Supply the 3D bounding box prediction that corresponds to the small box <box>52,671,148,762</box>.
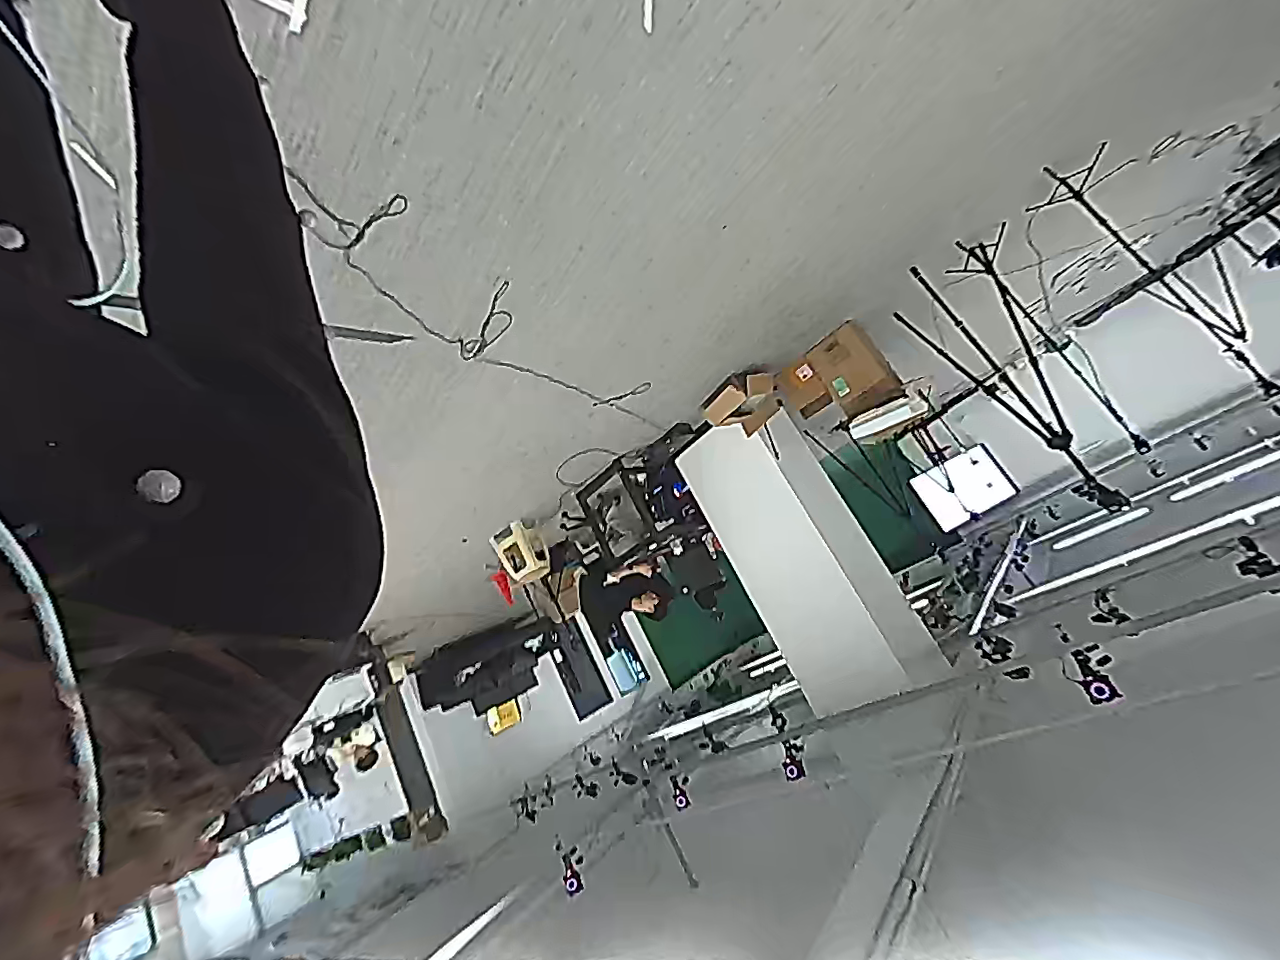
[{"bbox_3d":[-1.574,0.678,1.572,0.179,0.176,0.168,-38,161,32],"label":"small box"}]
